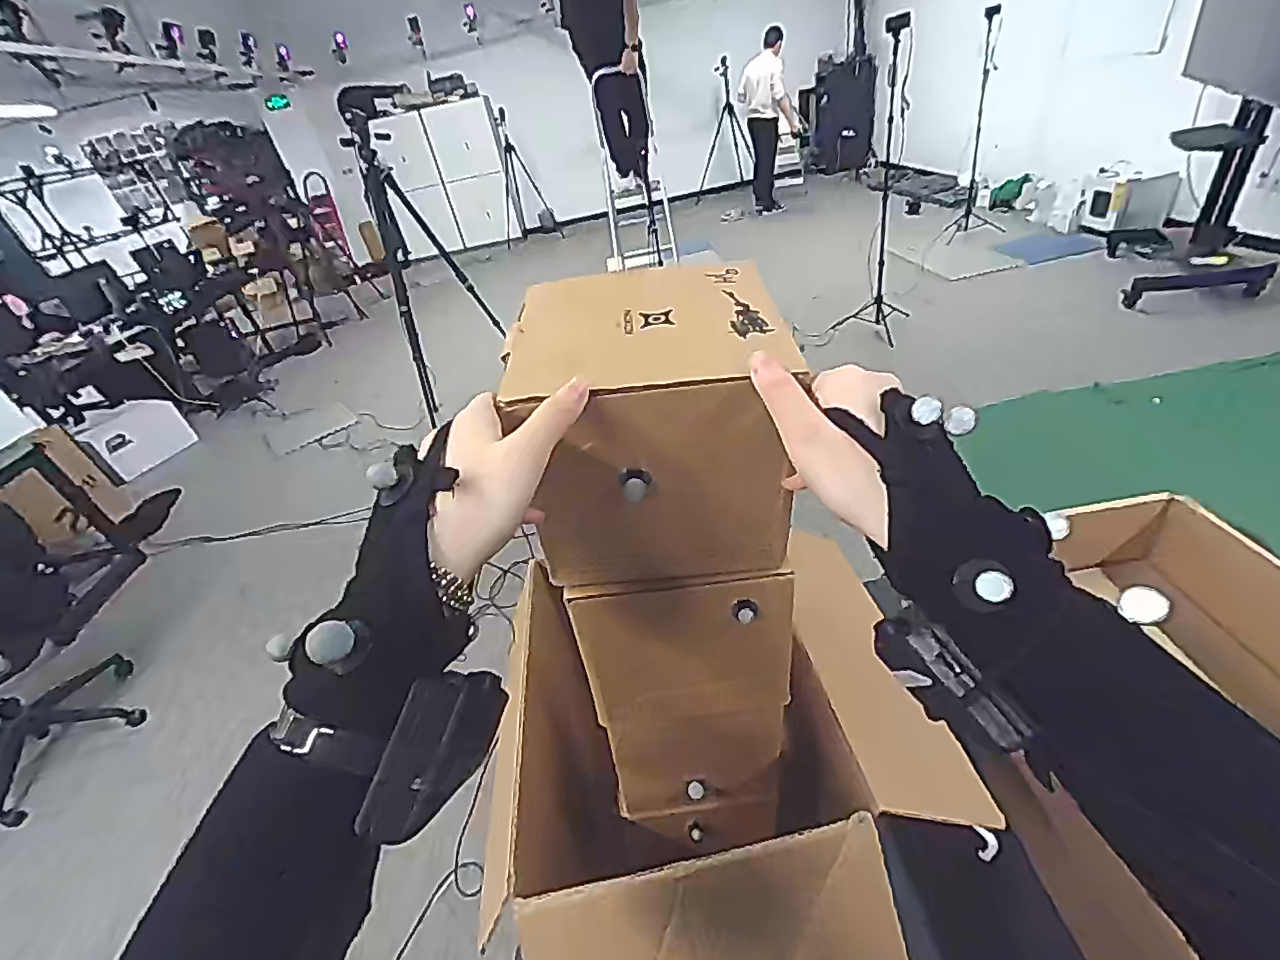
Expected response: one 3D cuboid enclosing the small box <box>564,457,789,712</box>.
[{"bbox_3d":[0.032,0.099,0.516,0.179,0.176,0.168,-7,35,0],"label":"small box"}]
